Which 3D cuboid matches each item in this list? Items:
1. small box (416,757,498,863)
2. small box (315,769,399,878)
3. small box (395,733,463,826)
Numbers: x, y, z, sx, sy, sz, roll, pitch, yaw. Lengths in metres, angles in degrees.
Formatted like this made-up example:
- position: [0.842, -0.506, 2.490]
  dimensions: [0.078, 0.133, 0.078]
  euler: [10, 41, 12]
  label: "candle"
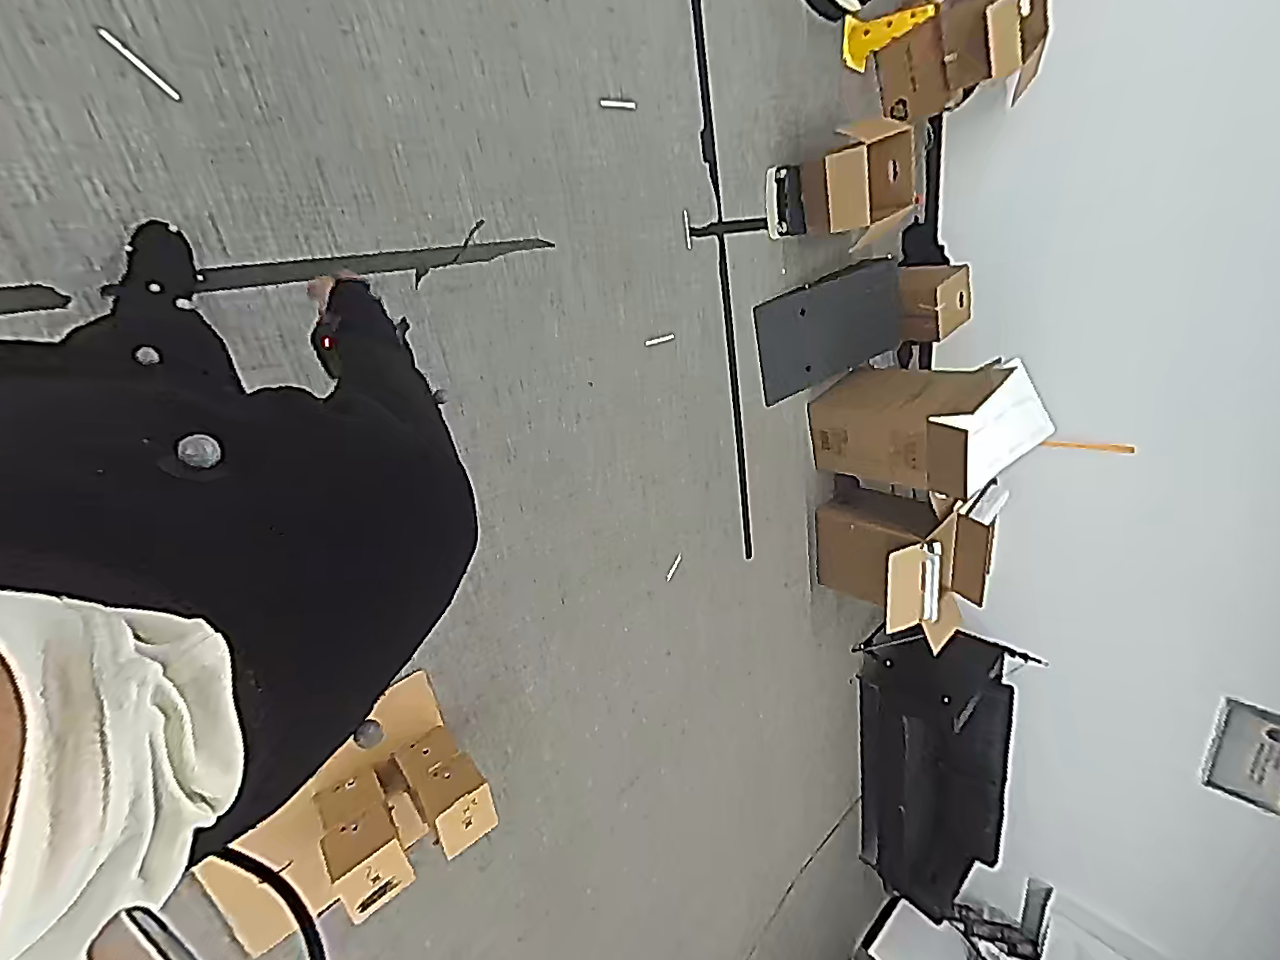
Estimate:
- position: [-0.553, 0.988, 1.635]
  dimensions: [0.168, 0.176, 0.179]
  euler: [-22, 114, -37]
  label: "small box"
- position: [-0.844, 1.014, 1.611]
  dimensions: [0.168, 0.176, 0.179]
  euler: [-21, 114, -36]
  label: "small box"
- position: [-0.669, 0.954, 1.748]
  dimensions: [0.168, 0.176, 0.179]
  euler: [-23, 114, -36]
  label: "small box"
